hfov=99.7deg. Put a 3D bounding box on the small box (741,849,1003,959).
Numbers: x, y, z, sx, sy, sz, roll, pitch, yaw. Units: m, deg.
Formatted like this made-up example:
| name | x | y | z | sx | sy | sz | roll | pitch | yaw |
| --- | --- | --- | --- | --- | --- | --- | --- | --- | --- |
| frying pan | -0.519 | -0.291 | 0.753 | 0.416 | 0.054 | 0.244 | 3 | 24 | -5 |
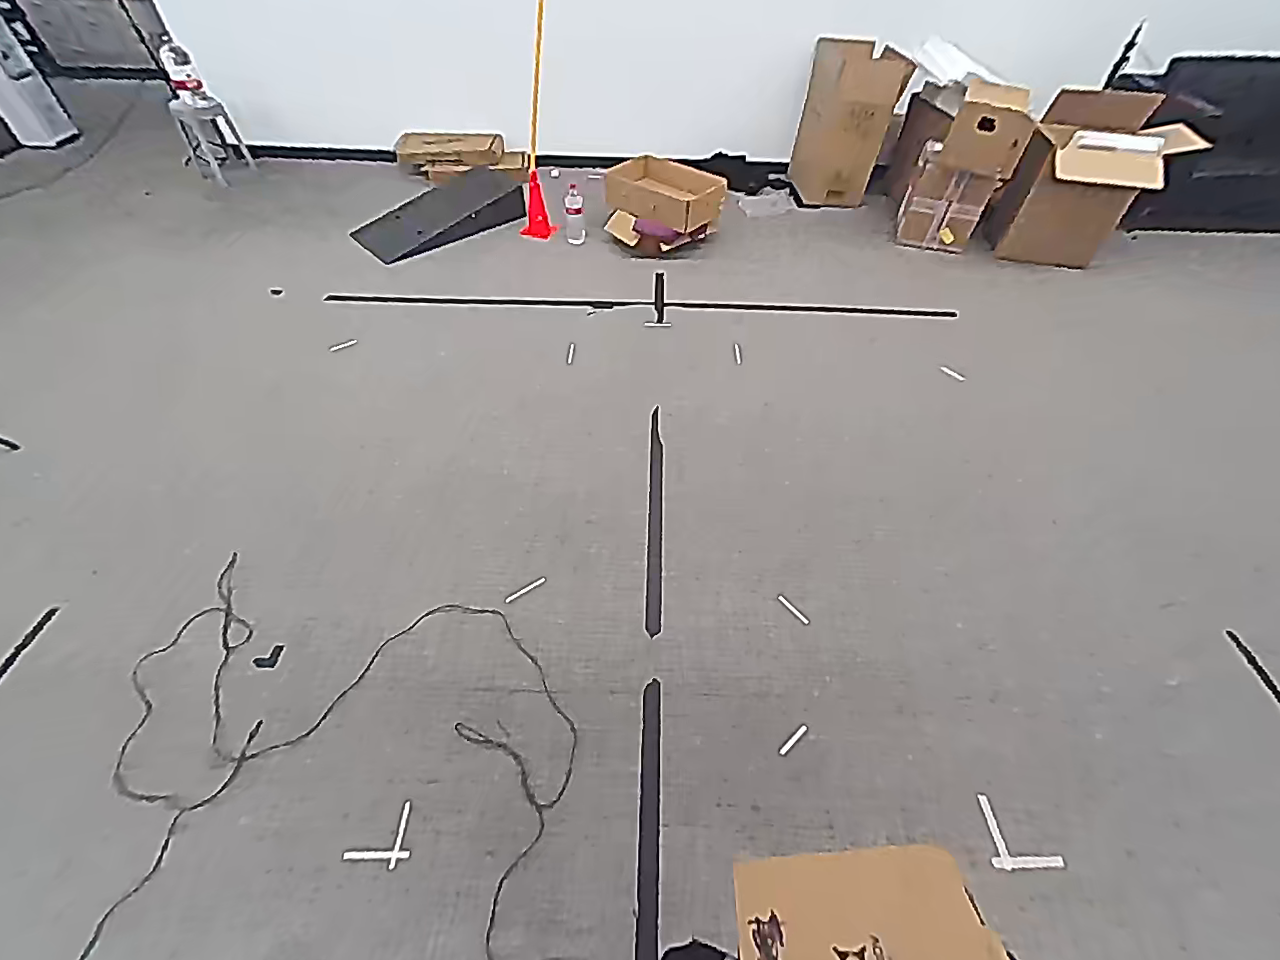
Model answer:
| name | x | y | z | sx | sy | sz | roll | pitch | yaw |
| --- | --- | --- | --- | --- | --- | --- | --- | --- | --- |
| small box | 0.179 | 0.418 | 0.401 | 0.179 | 0.176 | 0.168 | -10 | 14 | 8 |
